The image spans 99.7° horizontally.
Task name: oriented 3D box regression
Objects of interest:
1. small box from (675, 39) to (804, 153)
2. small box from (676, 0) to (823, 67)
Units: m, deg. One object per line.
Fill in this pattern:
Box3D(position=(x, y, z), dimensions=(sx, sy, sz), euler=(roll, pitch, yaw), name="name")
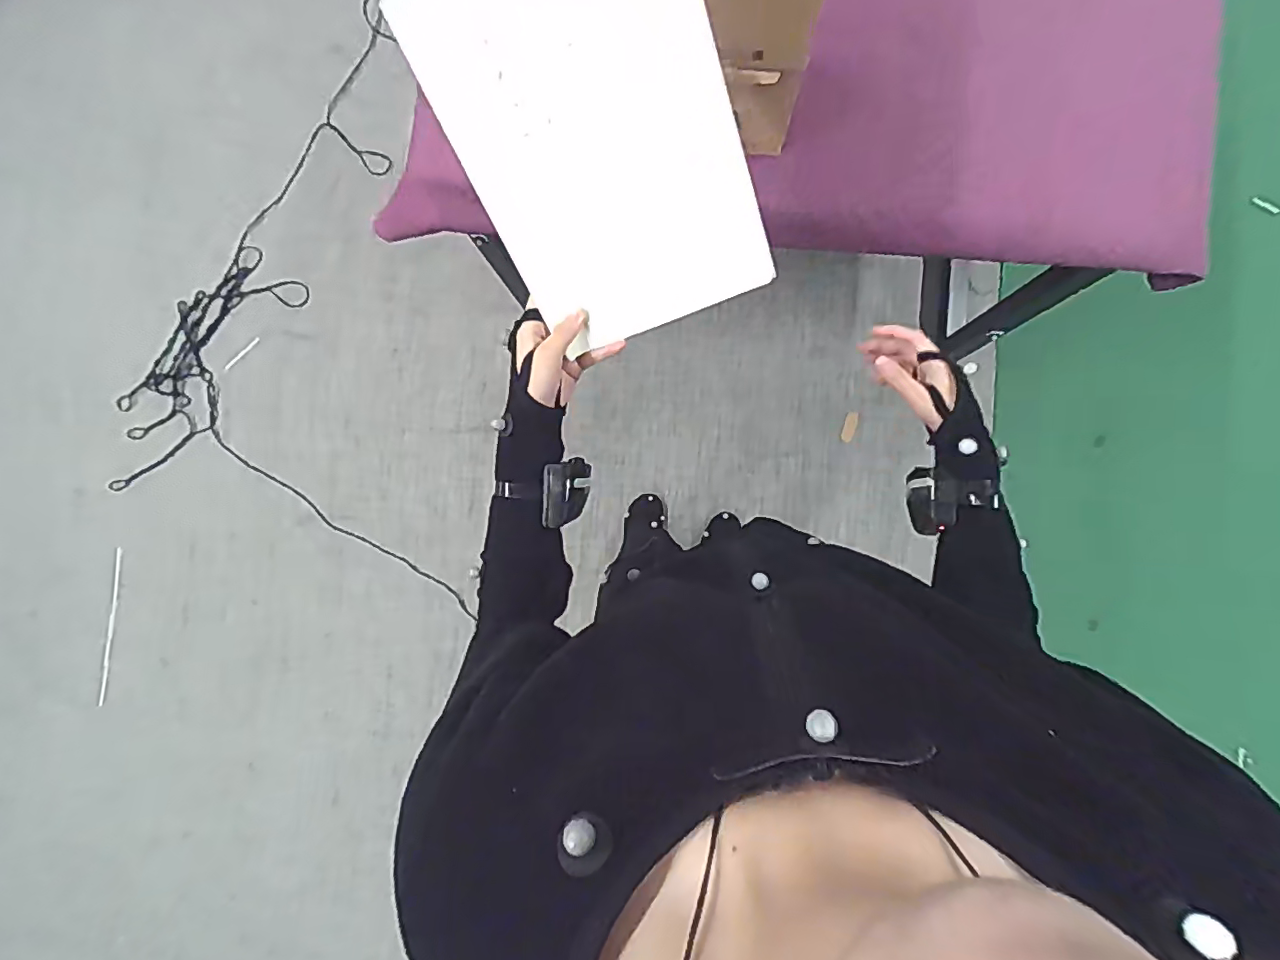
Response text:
Box3D(position=(0.143, -0.602, 0.769), dimensions=(0.168, 0.176, 0.179), euler=(7, 87, 4), name="small box")
Box3D(position=(0.131, -0.608, 0.604), dimensions=(0.168, 0.176, 0.179), euler=(7, 85, 5), name="small box")
